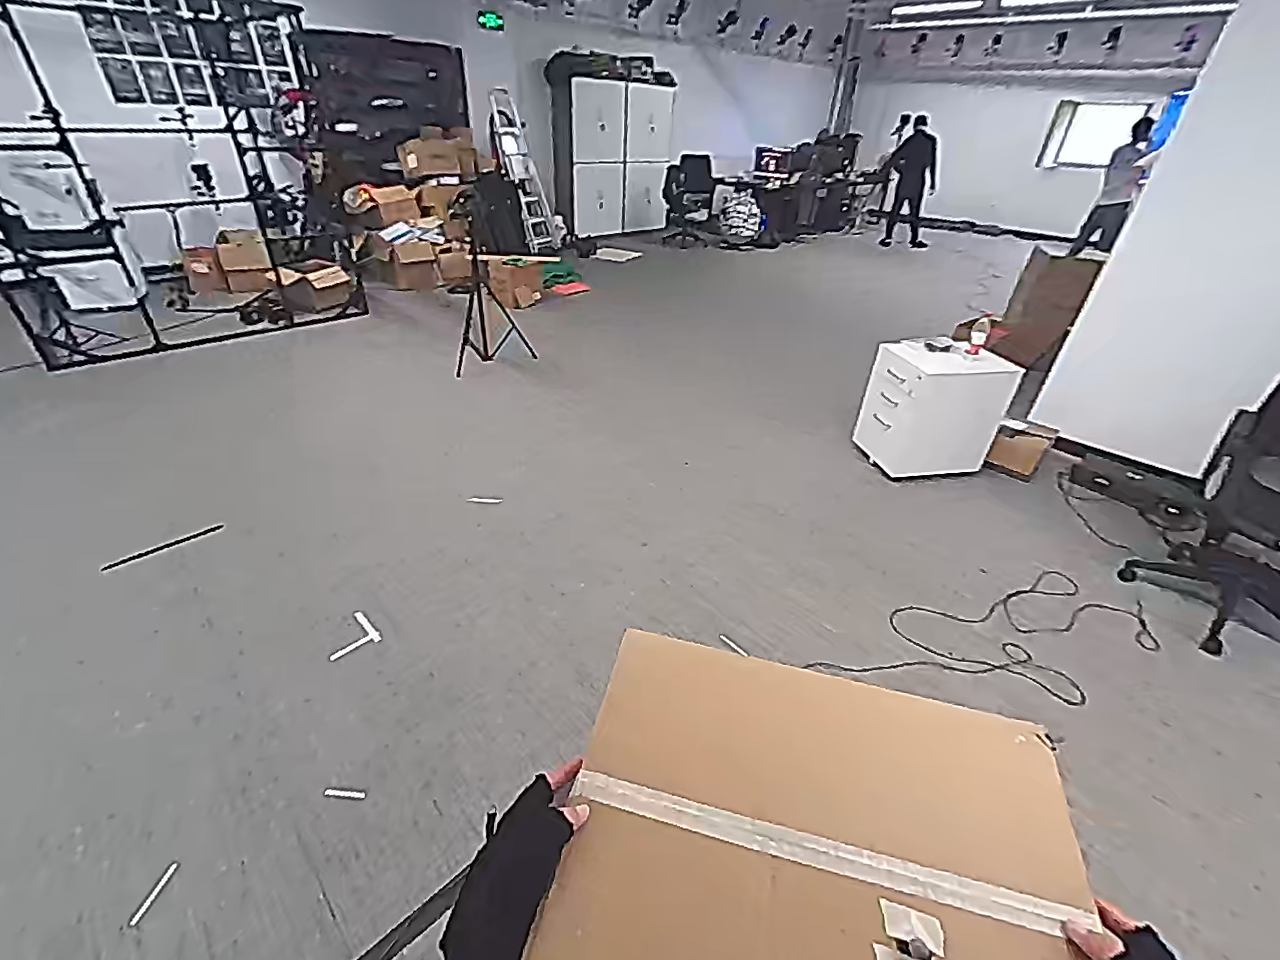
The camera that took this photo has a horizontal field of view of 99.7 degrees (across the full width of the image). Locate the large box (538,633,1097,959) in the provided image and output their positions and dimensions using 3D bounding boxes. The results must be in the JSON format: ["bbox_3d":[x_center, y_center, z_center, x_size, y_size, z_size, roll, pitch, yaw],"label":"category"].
[{"bbox_3d":[0.144,0.407,0.547,0.408,0.320,0.320,11,45,10],"label":"large box"}]
